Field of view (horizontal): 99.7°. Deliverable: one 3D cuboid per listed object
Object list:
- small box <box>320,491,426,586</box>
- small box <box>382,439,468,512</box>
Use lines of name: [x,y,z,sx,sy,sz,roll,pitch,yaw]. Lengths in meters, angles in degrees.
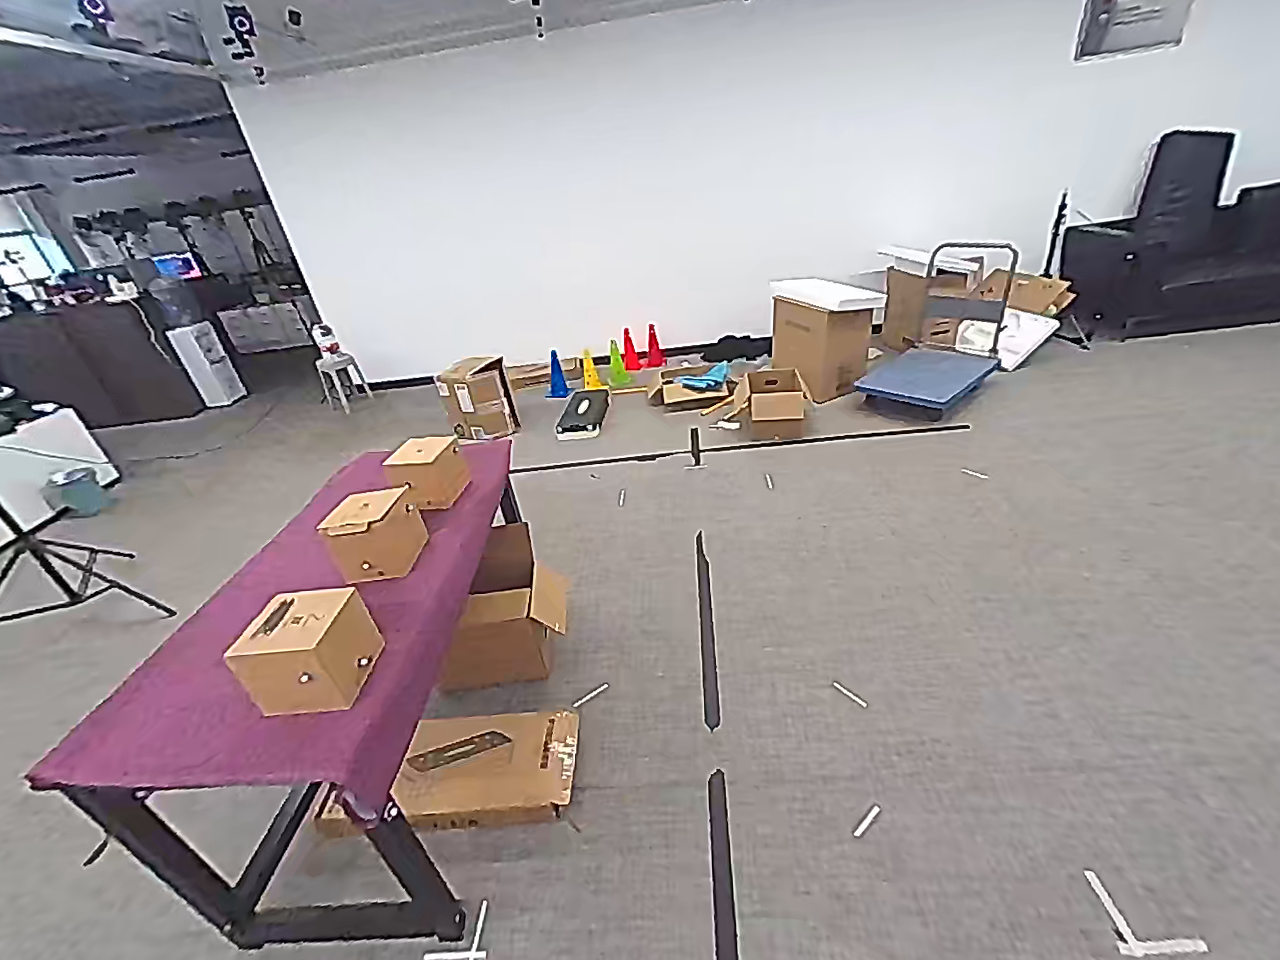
small box: [-0.682,0.151,1.409,0.168,0.176,0.179,-9,30,5]
small box: [-0.657,-0.009,1.683,0.168,0.176,0.179,-3,30,10]
